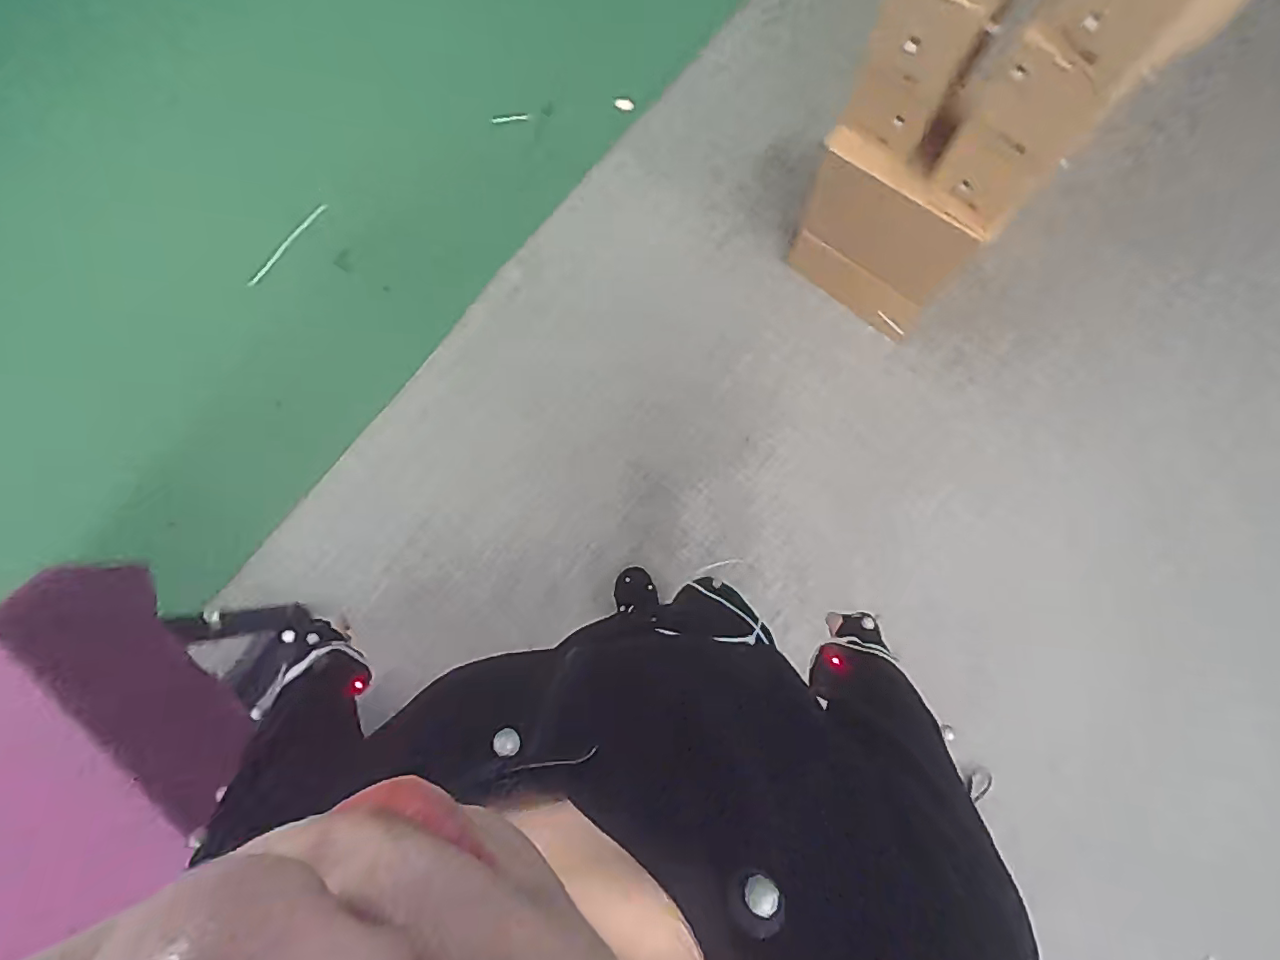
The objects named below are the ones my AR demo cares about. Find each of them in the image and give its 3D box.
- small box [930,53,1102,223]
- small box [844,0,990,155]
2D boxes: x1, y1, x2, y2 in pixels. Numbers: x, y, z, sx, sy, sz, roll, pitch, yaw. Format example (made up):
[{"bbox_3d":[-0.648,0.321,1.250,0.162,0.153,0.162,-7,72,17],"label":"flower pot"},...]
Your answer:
[{"bbox_3d":[0.700,-0.642,1.032,0.179,0.176,0.168,-44,79,-2],"label":"small box"},{"bbox_3d":[0.532,-0.801,1.074,0.168,0.176,0.179,41,87,7],"label":"small box"}]
